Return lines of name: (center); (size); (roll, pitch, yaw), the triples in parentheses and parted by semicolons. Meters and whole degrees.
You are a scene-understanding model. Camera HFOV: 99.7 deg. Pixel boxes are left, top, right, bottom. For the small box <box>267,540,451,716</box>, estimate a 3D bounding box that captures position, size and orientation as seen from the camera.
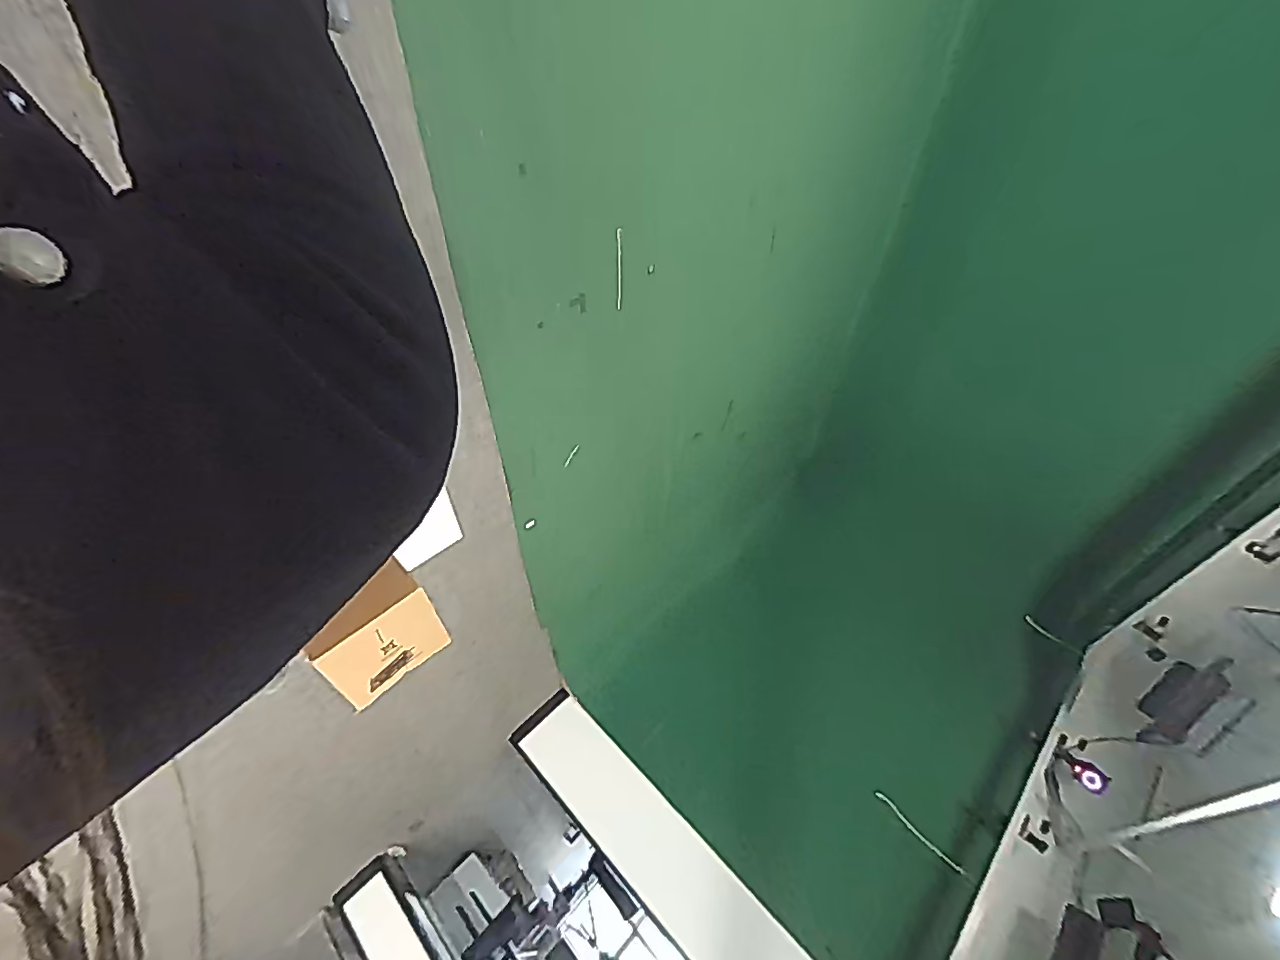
small box: (-0.430, 0.225, 0.842); (0.168, 0.176, 0.179); (-38, 149, -26)
